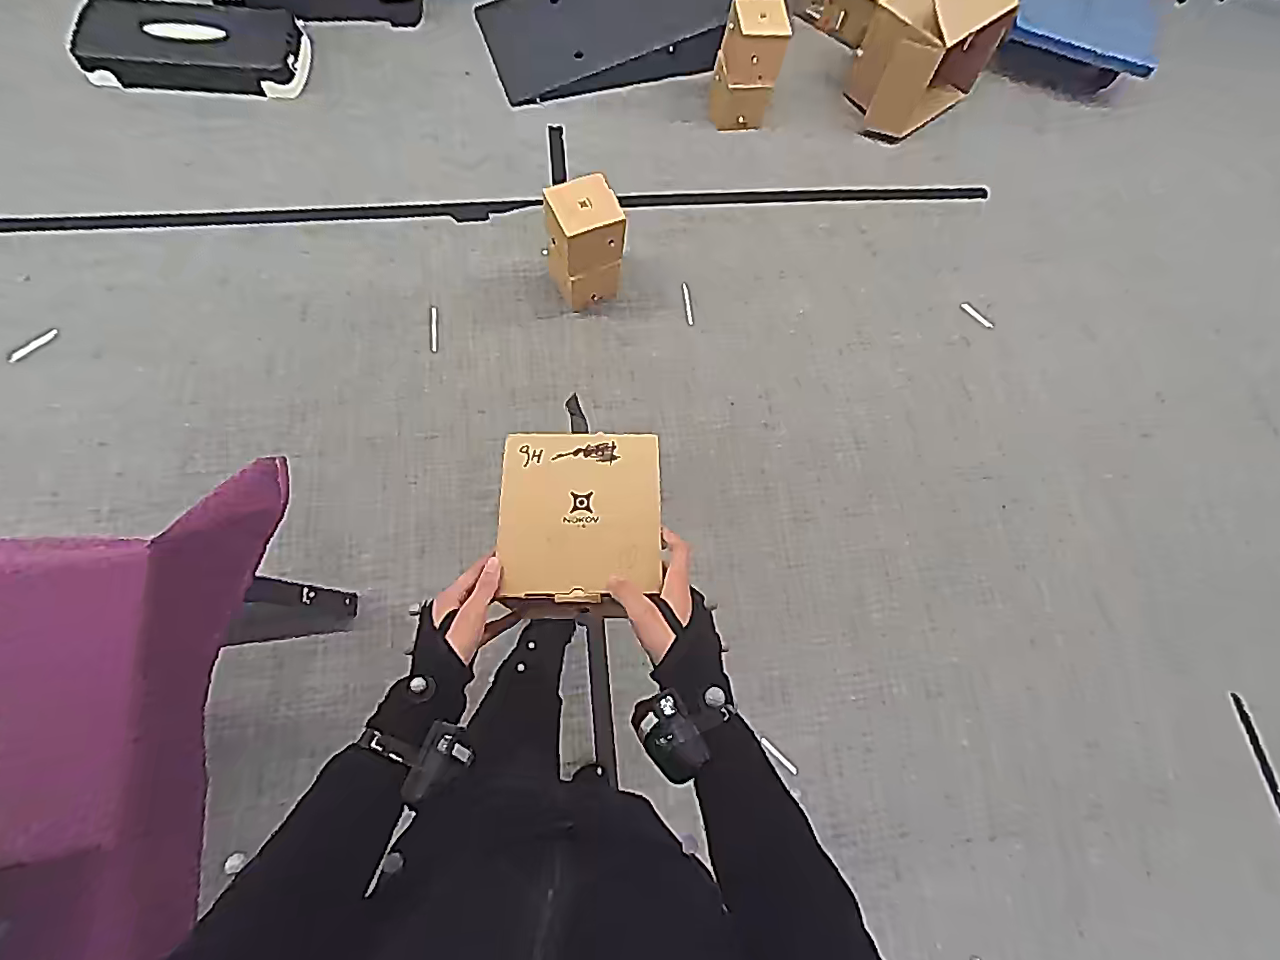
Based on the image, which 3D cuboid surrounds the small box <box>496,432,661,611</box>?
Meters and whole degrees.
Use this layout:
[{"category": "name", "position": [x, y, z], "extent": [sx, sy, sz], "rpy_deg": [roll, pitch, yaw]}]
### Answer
[{"category": "small box", "position": [-0.061, 0.057, 0.635], "extent": [0.168, 0.176, 0.179], "rpy_deg": [1, 69, -1]}]
